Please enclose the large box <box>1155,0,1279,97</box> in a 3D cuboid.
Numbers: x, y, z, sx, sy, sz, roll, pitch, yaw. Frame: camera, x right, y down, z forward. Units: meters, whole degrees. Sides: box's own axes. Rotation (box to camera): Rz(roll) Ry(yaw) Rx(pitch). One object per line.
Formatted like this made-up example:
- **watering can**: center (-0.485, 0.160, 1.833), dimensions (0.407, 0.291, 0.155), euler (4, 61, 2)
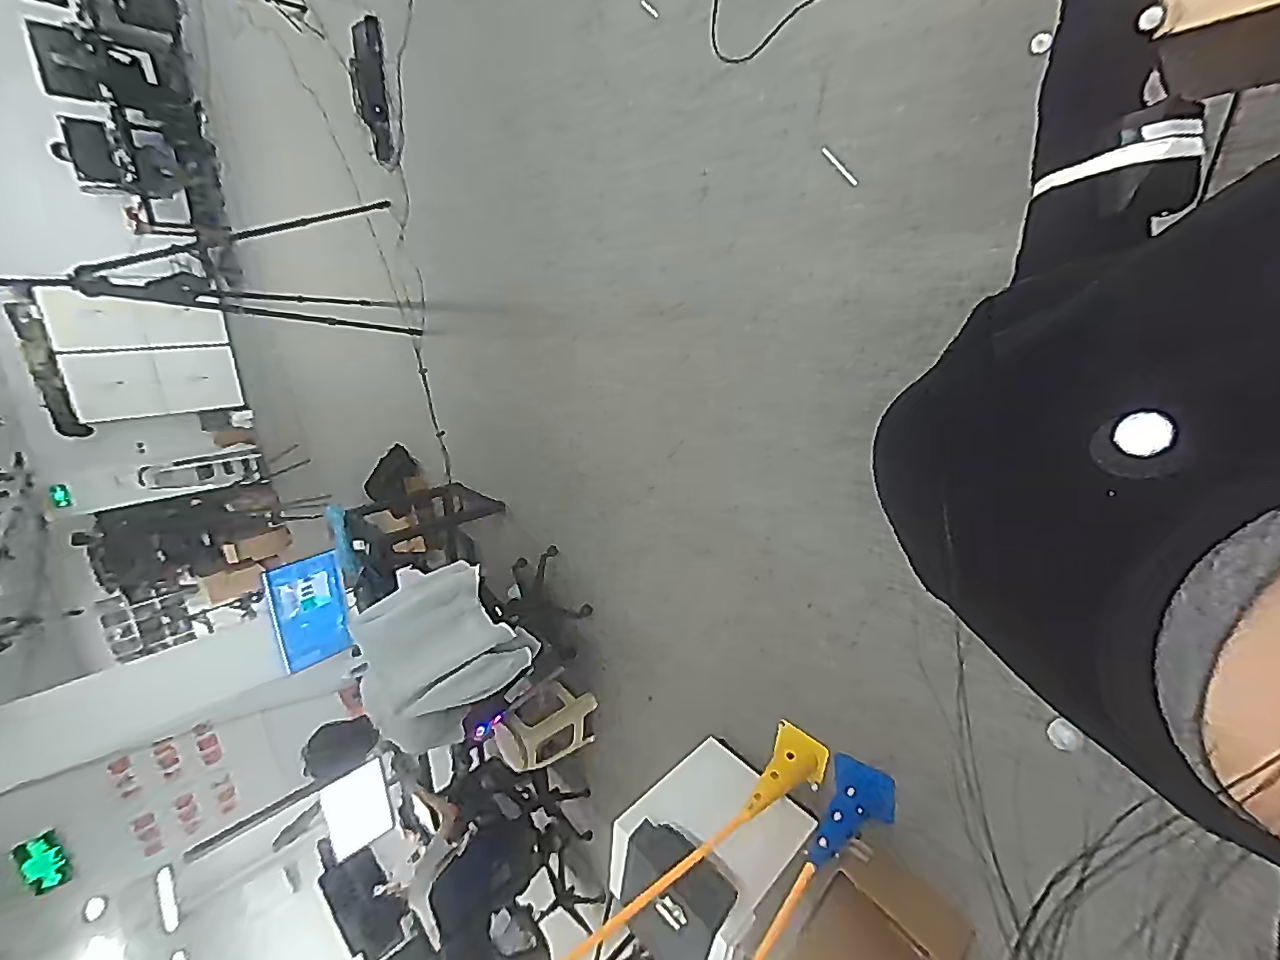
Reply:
- **large box**: center (0.572, -0.449, 0.271), dimensions (0.408, 0.320, 0.320), euler (13, 117, 43)
